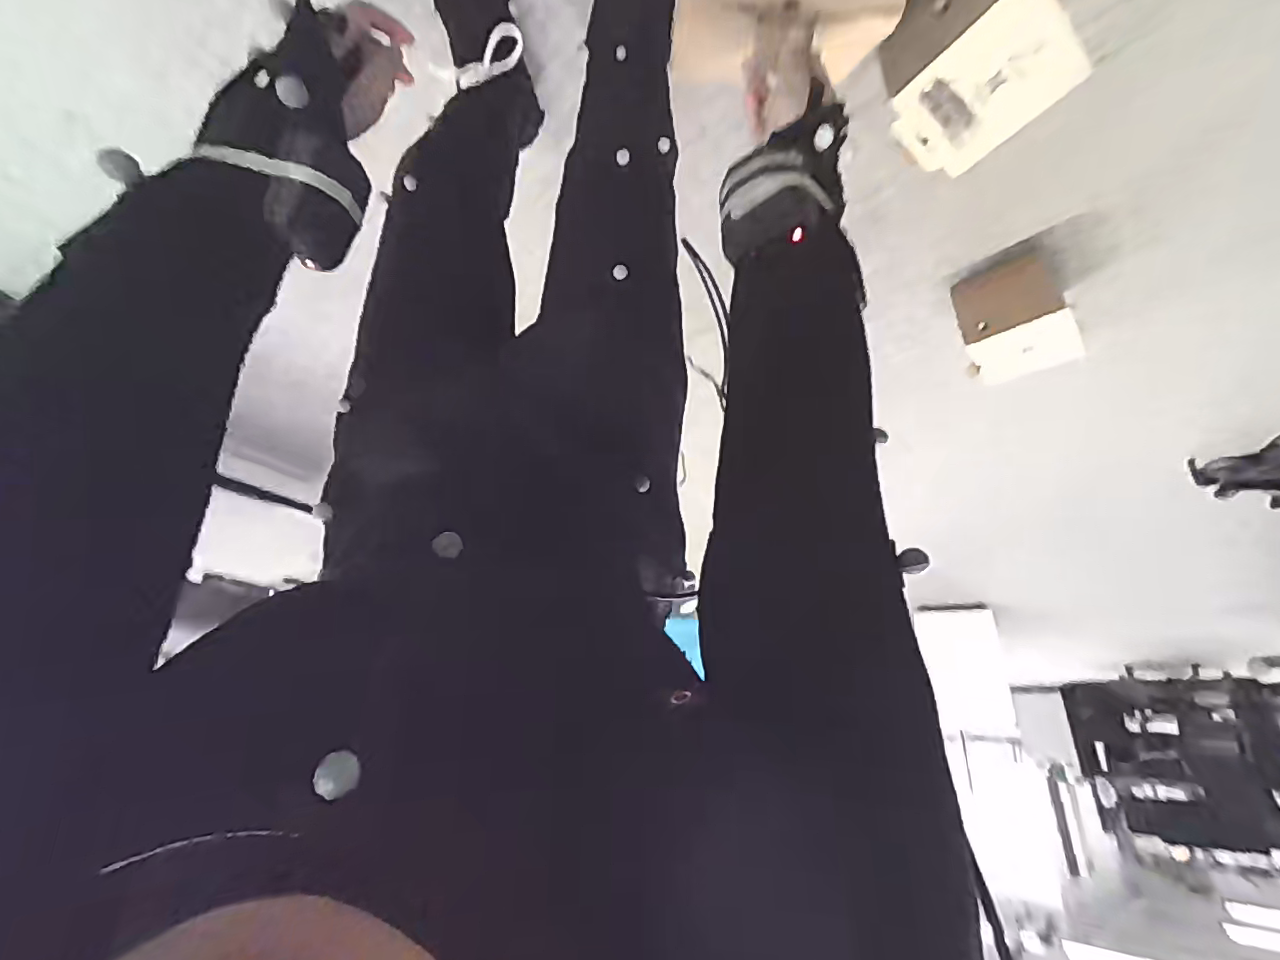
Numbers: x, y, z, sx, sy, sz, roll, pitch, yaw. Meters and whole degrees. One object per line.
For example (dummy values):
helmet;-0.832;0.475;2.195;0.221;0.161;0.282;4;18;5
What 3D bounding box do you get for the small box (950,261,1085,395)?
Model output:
small box;0.775;-0.312;1.120;0.179;0.176;0.168;-22;142;40
